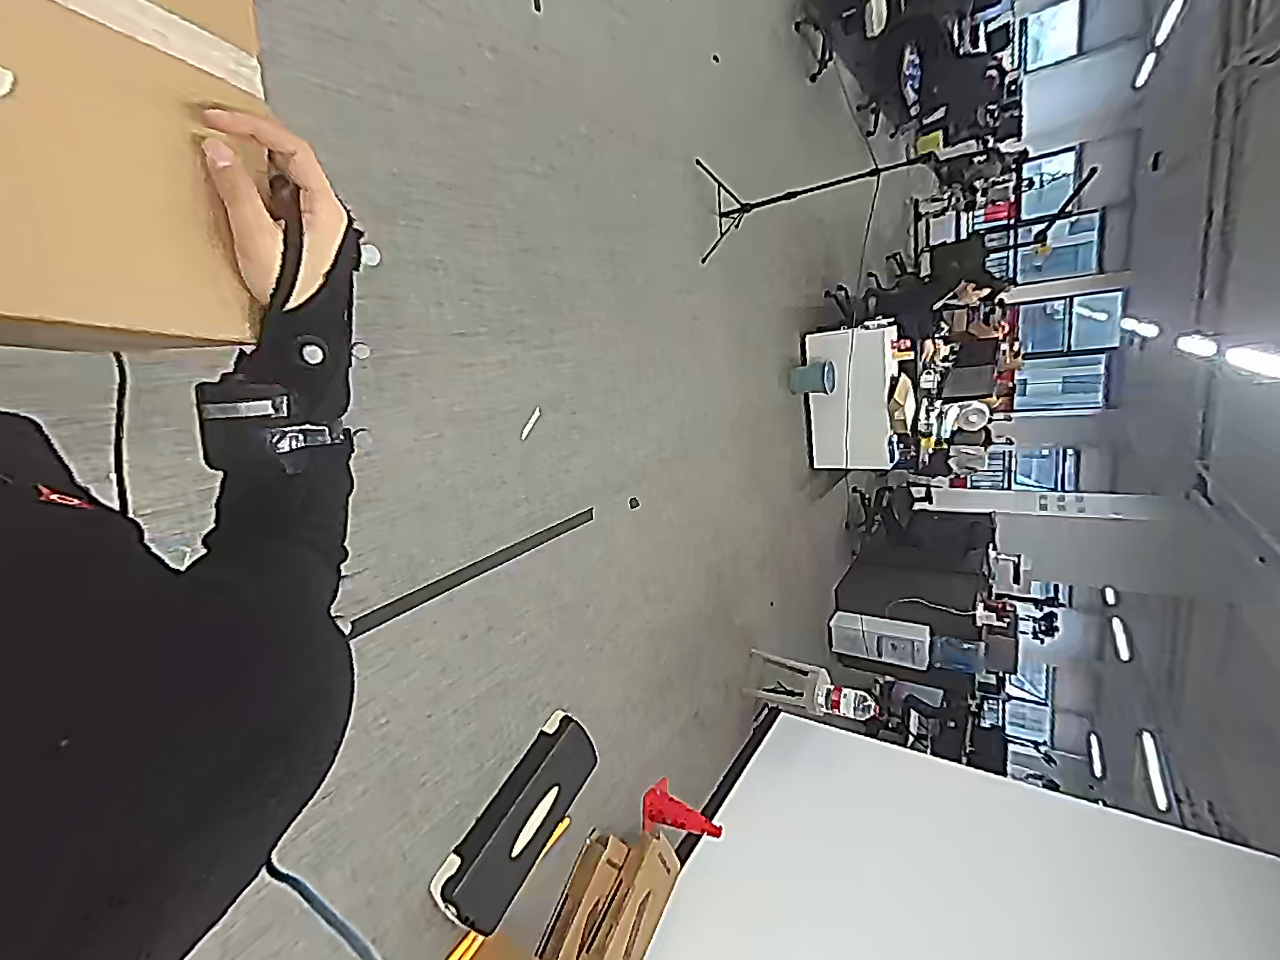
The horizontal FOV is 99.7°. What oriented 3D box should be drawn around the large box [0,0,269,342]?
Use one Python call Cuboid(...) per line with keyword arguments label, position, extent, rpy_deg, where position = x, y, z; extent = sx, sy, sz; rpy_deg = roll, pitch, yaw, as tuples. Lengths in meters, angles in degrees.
Cuboid(label="large box", position=(-0.469, -0.242, 0.240), extent=(0.408, 0.320, 0.320), rpy_deg=(-11, 106, -60))
